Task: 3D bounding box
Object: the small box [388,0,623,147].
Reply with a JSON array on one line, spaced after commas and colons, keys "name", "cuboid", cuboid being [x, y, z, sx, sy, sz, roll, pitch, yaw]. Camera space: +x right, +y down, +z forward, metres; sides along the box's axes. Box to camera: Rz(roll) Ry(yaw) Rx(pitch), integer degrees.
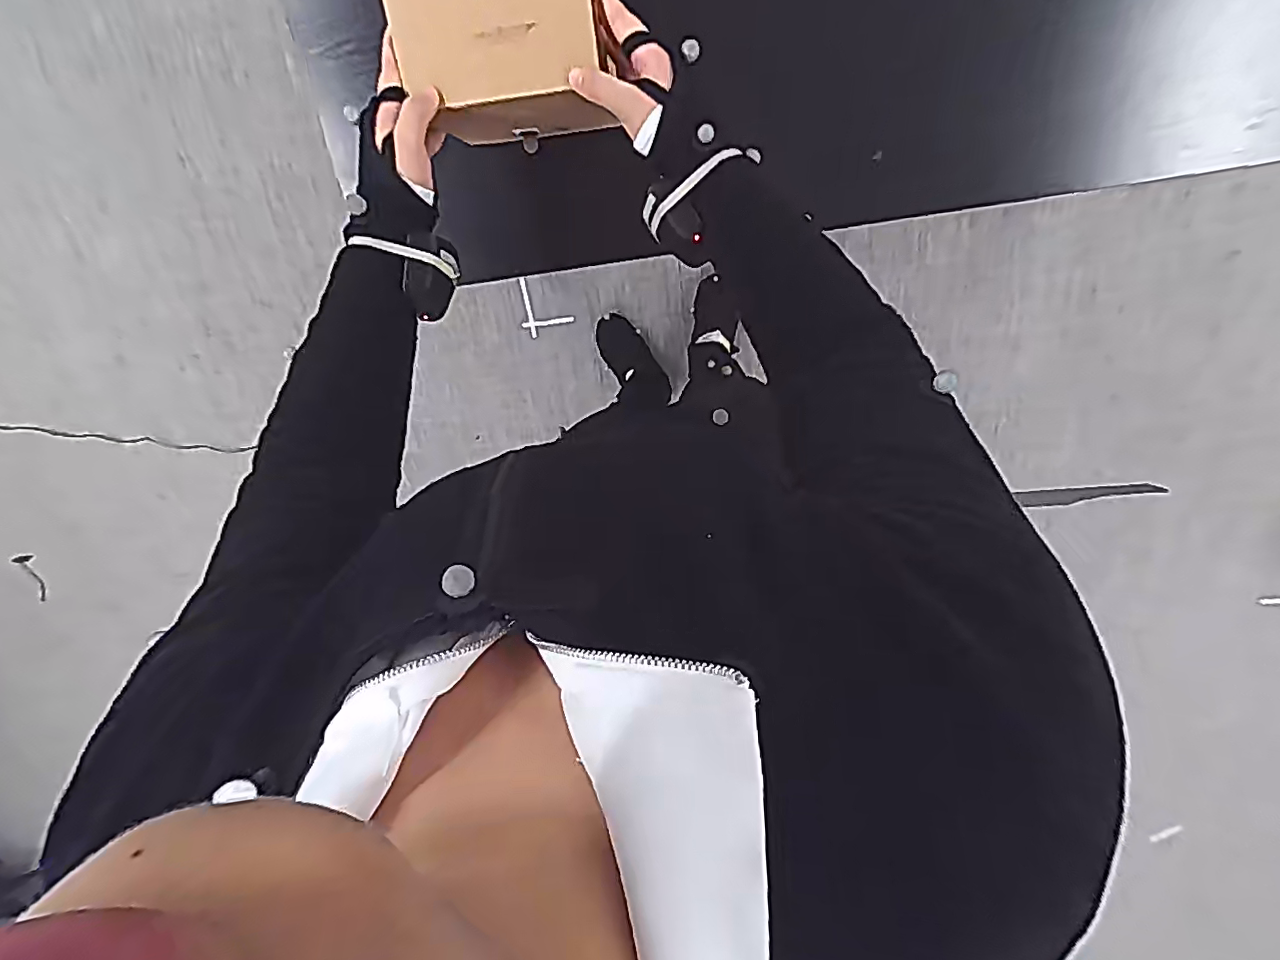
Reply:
[{"name": "small box", "cuboid": [-0.112, -0.420, 0.483, 0.168, 0.176, 0.179, -4, 114, 7]}]
